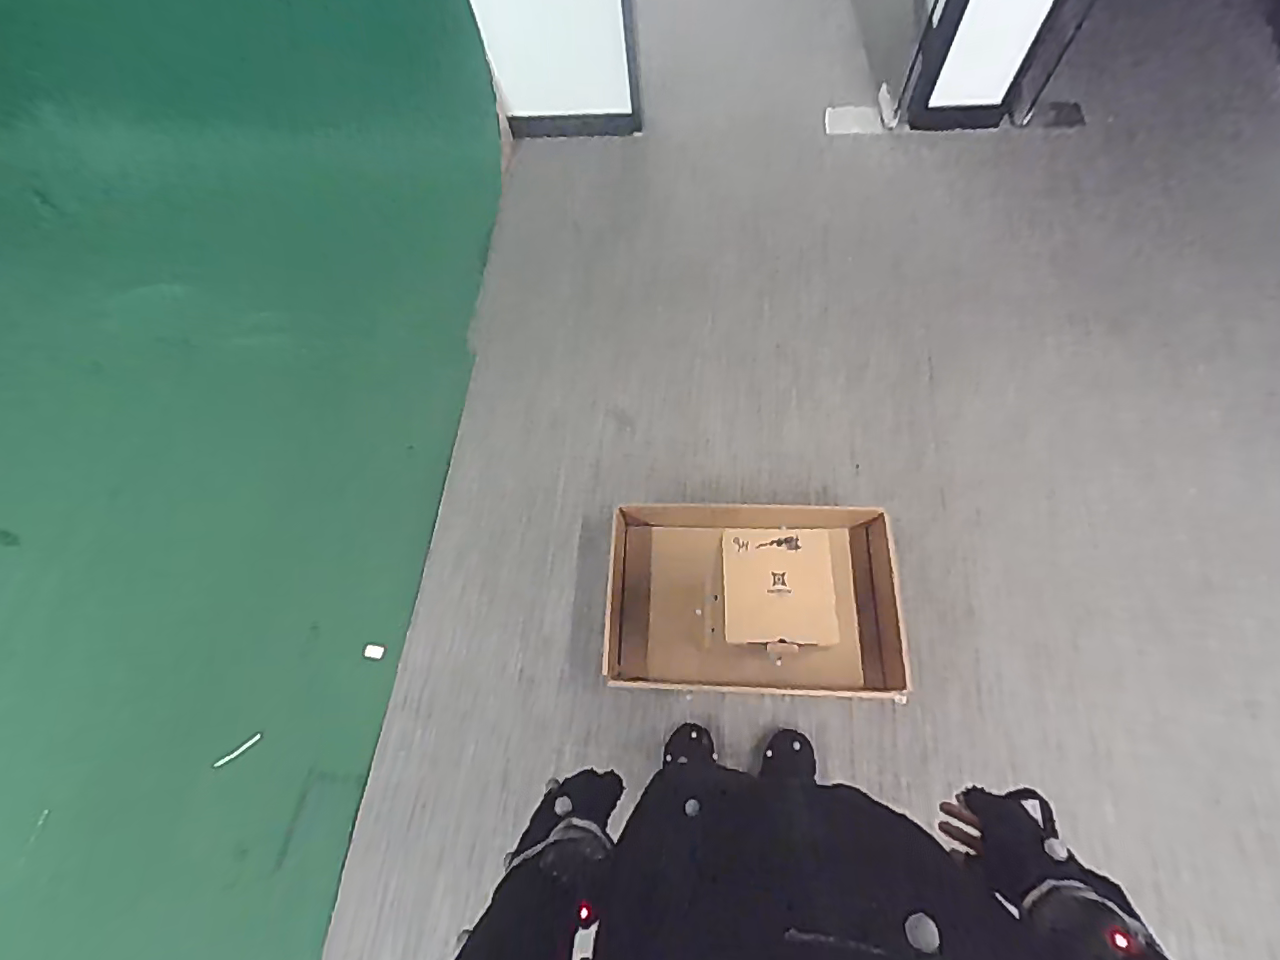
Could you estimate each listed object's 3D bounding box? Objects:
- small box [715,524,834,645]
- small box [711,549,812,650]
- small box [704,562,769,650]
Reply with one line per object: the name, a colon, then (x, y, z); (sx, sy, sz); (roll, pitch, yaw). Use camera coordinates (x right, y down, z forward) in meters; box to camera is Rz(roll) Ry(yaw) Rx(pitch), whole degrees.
small box: (0.214, 0.179, 0.898); (0.168, 0.176, 0.179); (0, 70, 4)
small box: (0.224, 0.232, 1.035); (0.168, 0.176, 0.179); (-3, 69, 4)
small box: (0.235, 0.284, 1.205); (0.179, 0.176, 0.168); (1, 69, 8)
